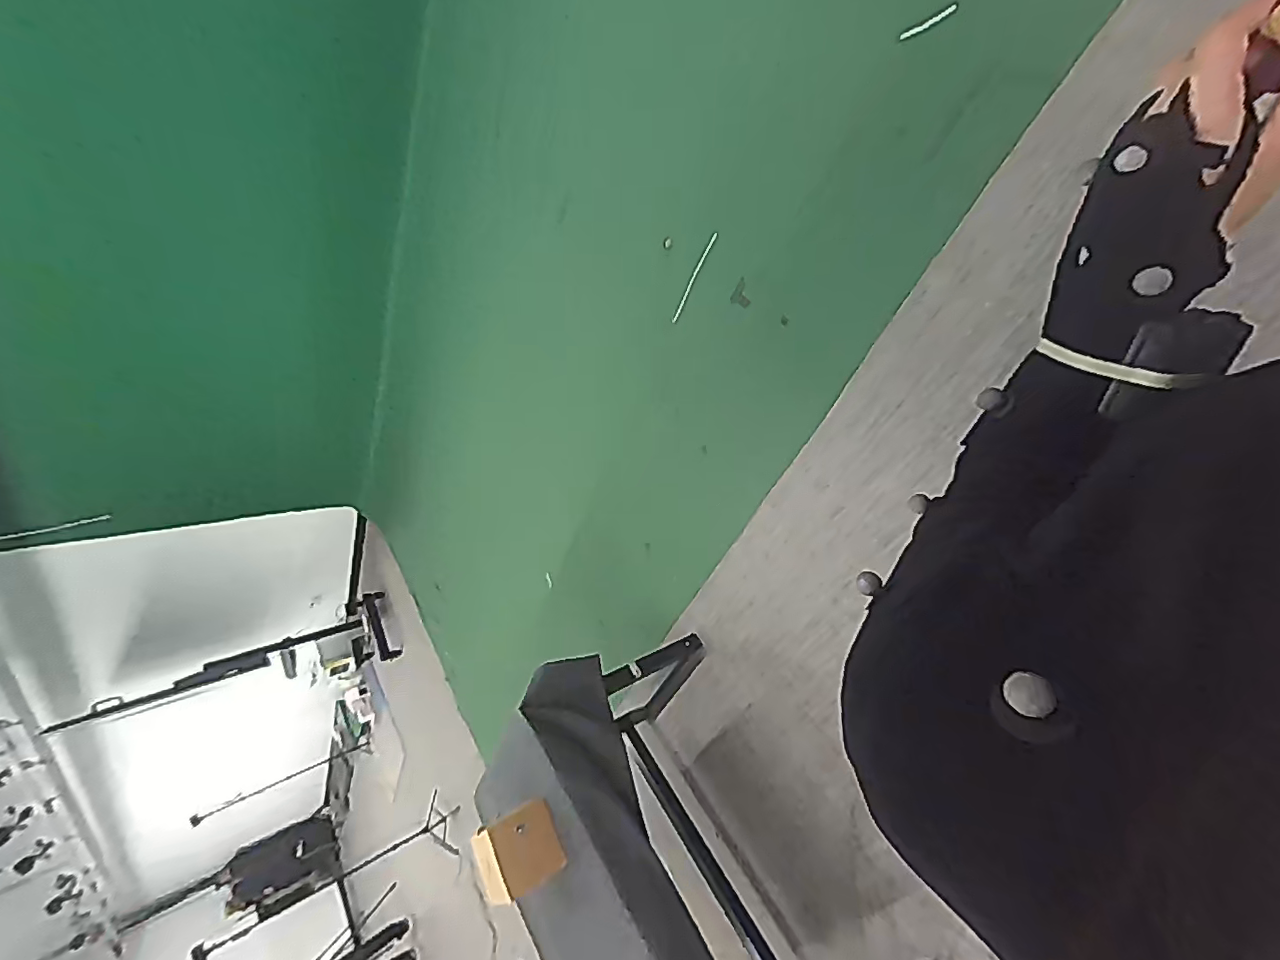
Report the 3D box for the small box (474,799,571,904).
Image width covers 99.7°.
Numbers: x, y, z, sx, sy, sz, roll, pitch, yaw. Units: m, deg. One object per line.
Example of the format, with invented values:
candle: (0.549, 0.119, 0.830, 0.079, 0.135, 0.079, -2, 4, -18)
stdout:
small box: (-0.312, 0.978, 1.436, 0.168, 0.176, 0.179, -48, 63, 43)
